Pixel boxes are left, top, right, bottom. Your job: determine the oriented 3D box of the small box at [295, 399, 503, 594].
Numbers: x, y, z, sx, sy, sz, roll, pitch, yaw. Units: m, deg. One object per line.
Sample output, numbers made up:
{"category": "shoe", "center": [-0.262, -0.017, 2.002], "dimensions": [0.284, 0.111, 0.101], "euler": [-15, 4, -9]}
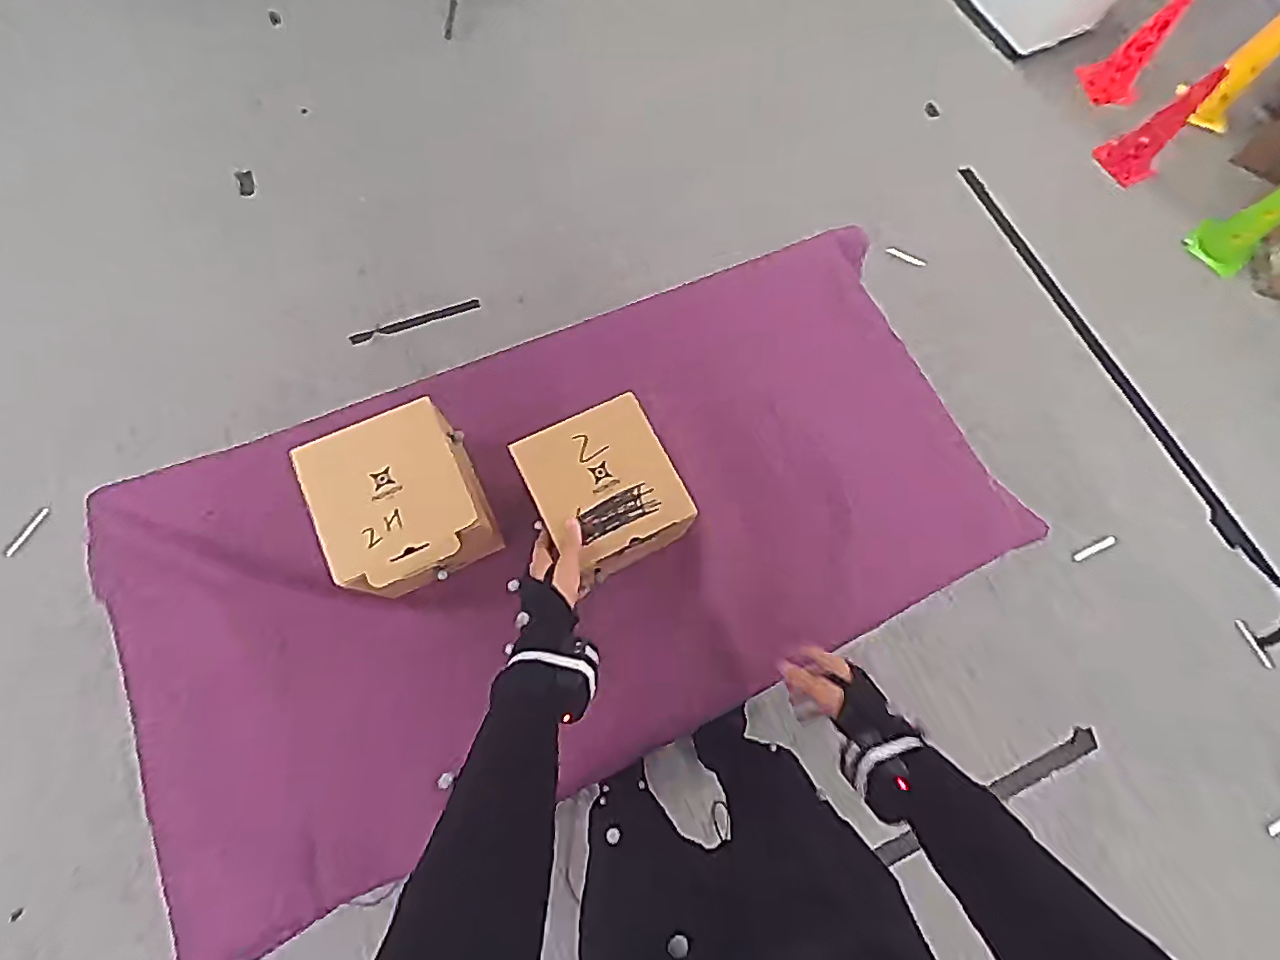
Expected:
{"category": "small box", "center": [-0.293, 0.030, 0.692], "dimensions": [0.168, 0.176, 0.179], "euler": [-25, 77, -10]}
